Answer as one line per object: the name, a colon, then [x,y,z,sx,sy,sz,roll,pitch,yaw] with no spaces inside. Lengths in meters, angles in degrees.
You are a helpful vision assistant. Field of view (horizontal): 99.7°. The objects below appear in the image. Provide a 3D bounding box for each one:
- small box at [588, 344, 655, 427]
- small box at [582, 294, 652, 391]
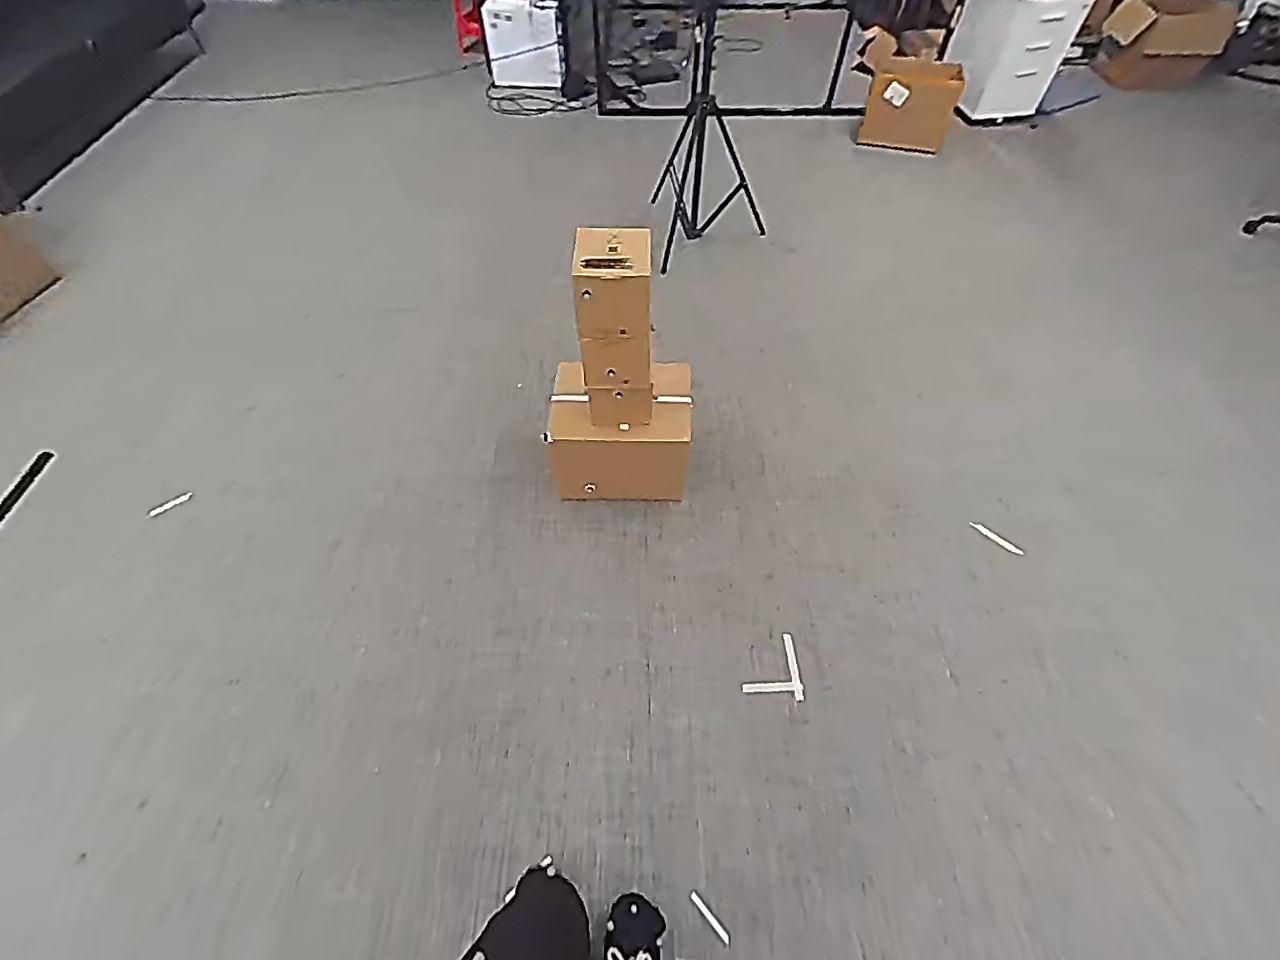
small box: [-0.048,-0.261,1.505,0.179,0.176,0.168,-1,56,-1]
small box: [-0.054,-0.345,1.366,0.168,0.176,0.179,-1,57,0]
